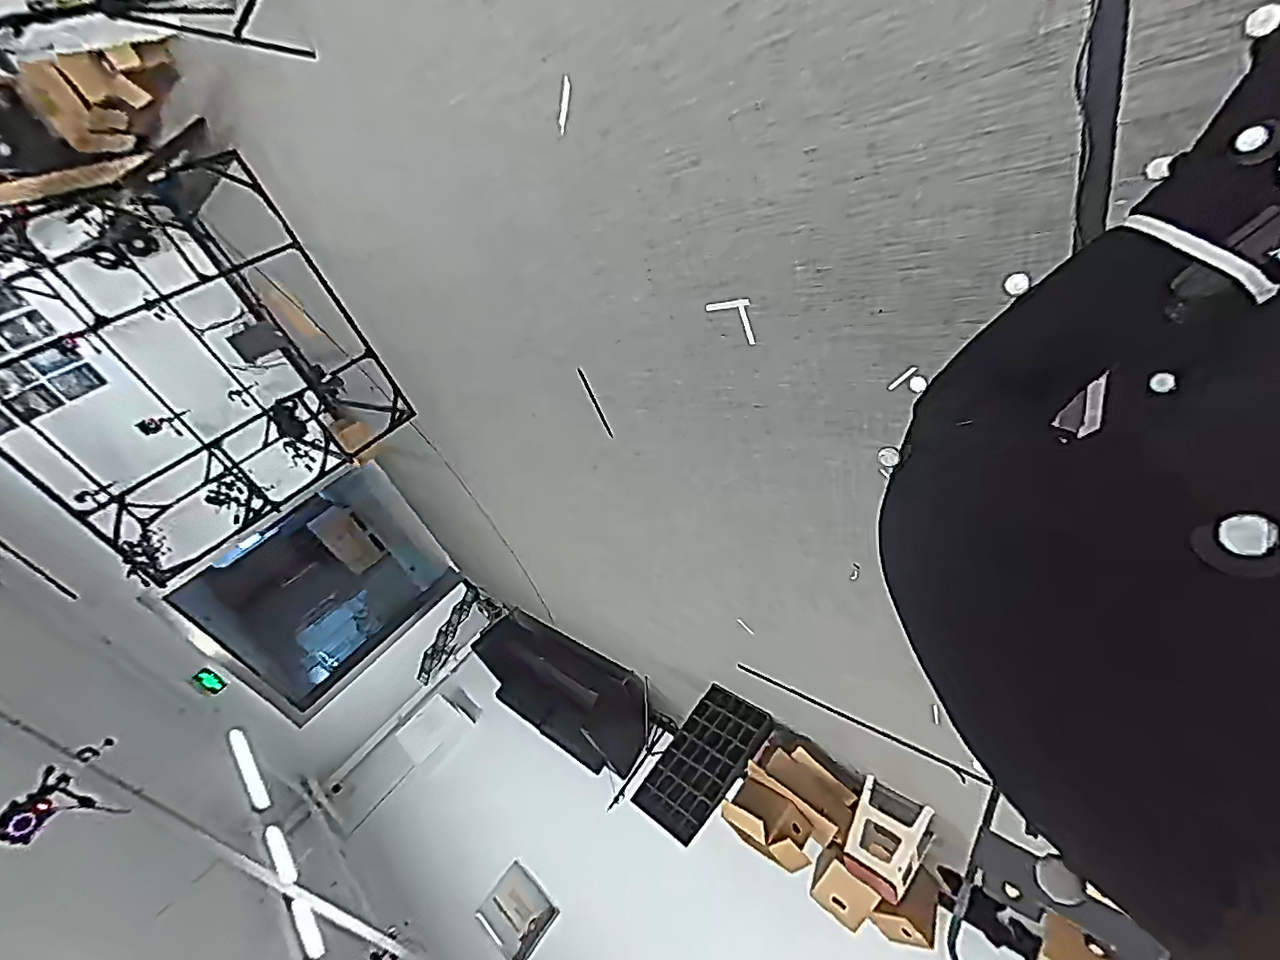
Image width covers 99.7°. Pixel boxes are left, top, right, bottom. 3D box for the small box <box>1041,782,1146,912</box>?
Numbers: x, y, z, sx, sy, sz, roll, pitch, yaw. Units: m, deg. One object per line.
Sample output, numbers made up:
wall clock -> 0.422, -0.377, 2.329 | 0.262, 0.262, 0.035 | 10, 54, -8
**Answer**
small box -> 1.101, 0.885, 1.315 | 0.168, 0.176, 0.179 | 12, 137, 45
